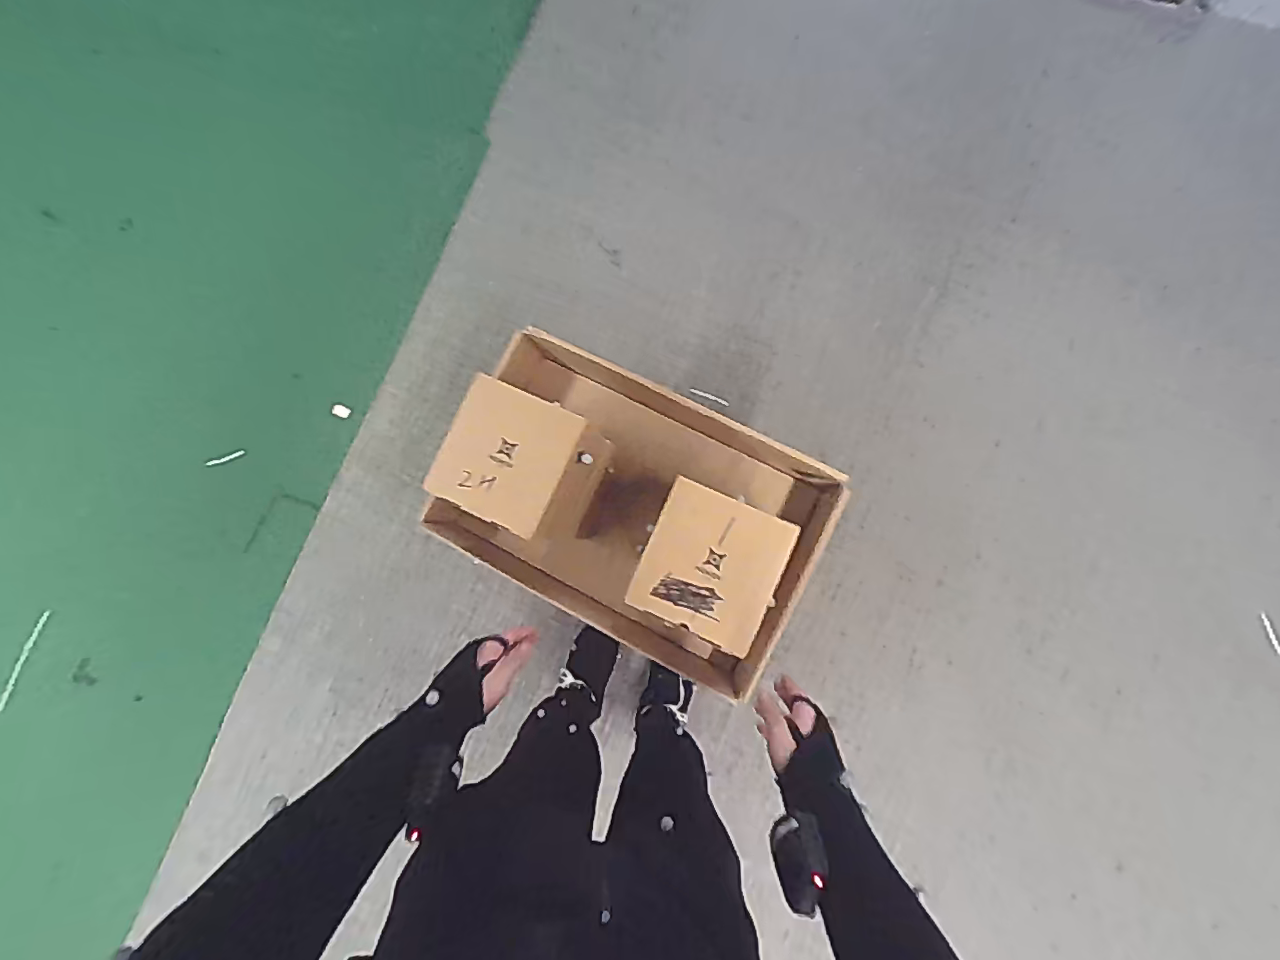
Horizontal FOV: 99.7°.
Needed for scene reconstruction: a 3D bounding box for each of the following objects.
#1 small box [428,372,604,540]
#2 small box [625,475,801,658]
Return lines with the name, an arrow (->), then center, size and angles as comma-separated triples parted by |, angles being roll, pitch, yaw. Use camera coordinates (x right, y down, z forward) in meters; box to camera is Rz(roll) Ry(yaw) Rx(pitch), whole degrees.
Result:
small box -> -0.163, -0.025, 0.783 | 0.168, 0.176, 0.179 | 25, 86, 9
small box -> 0.098, 0.112, 0.742 | 0.168, 0.176, 0.179 | 24, 86, 7
